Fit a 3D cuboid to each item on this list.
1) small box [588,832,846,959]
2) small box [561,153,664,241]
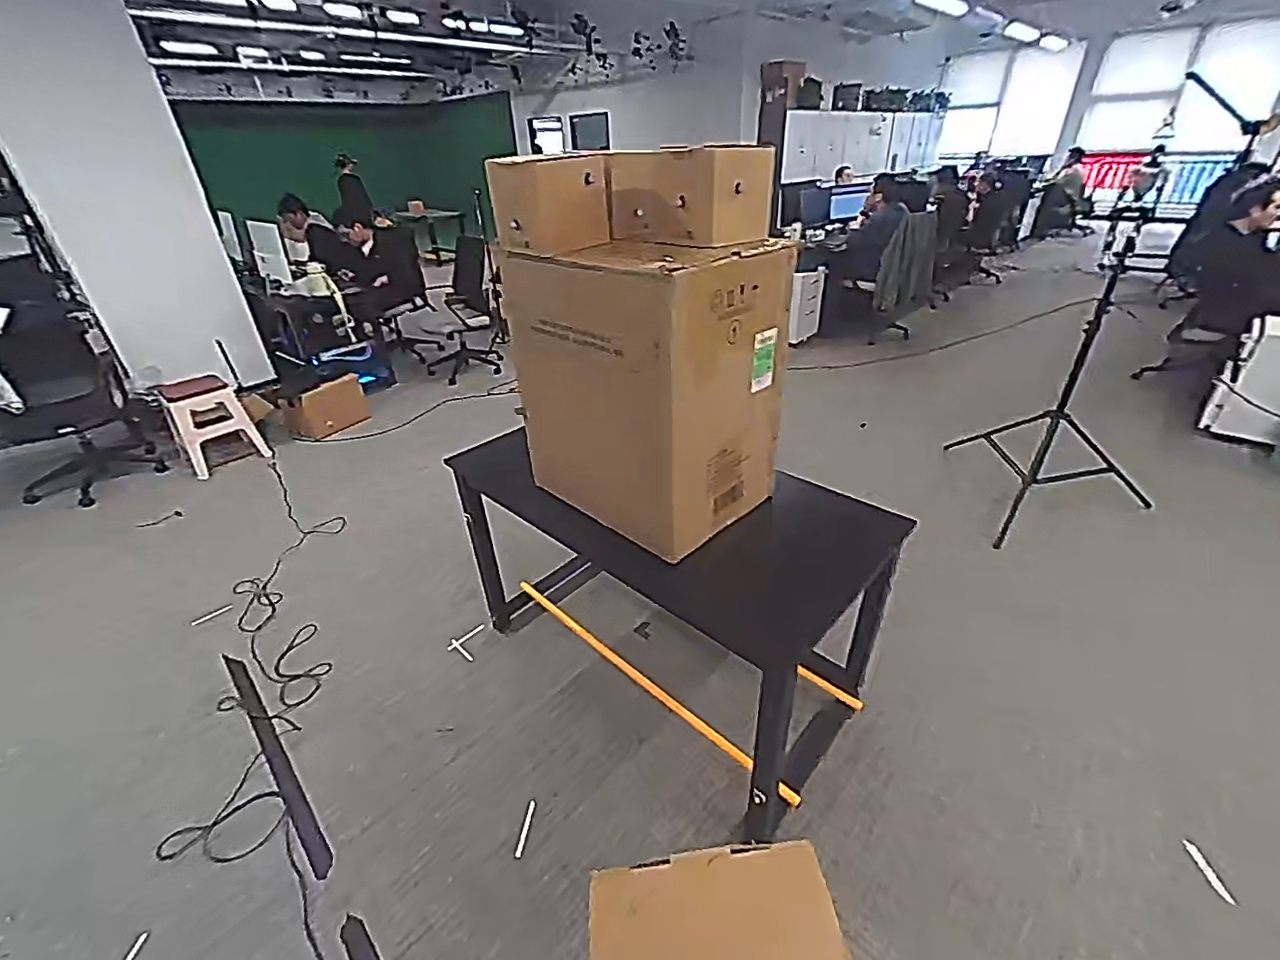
[{"bbox_3d":[0.054,0.382,0.372,0.168,0.176,0.179,-6,37,-4],"label":"small box"},{"bbox_3d":[-0.061,-0.653,1.248,0.179,0.176,0.168,27,41,37],"label":"small box"}]
